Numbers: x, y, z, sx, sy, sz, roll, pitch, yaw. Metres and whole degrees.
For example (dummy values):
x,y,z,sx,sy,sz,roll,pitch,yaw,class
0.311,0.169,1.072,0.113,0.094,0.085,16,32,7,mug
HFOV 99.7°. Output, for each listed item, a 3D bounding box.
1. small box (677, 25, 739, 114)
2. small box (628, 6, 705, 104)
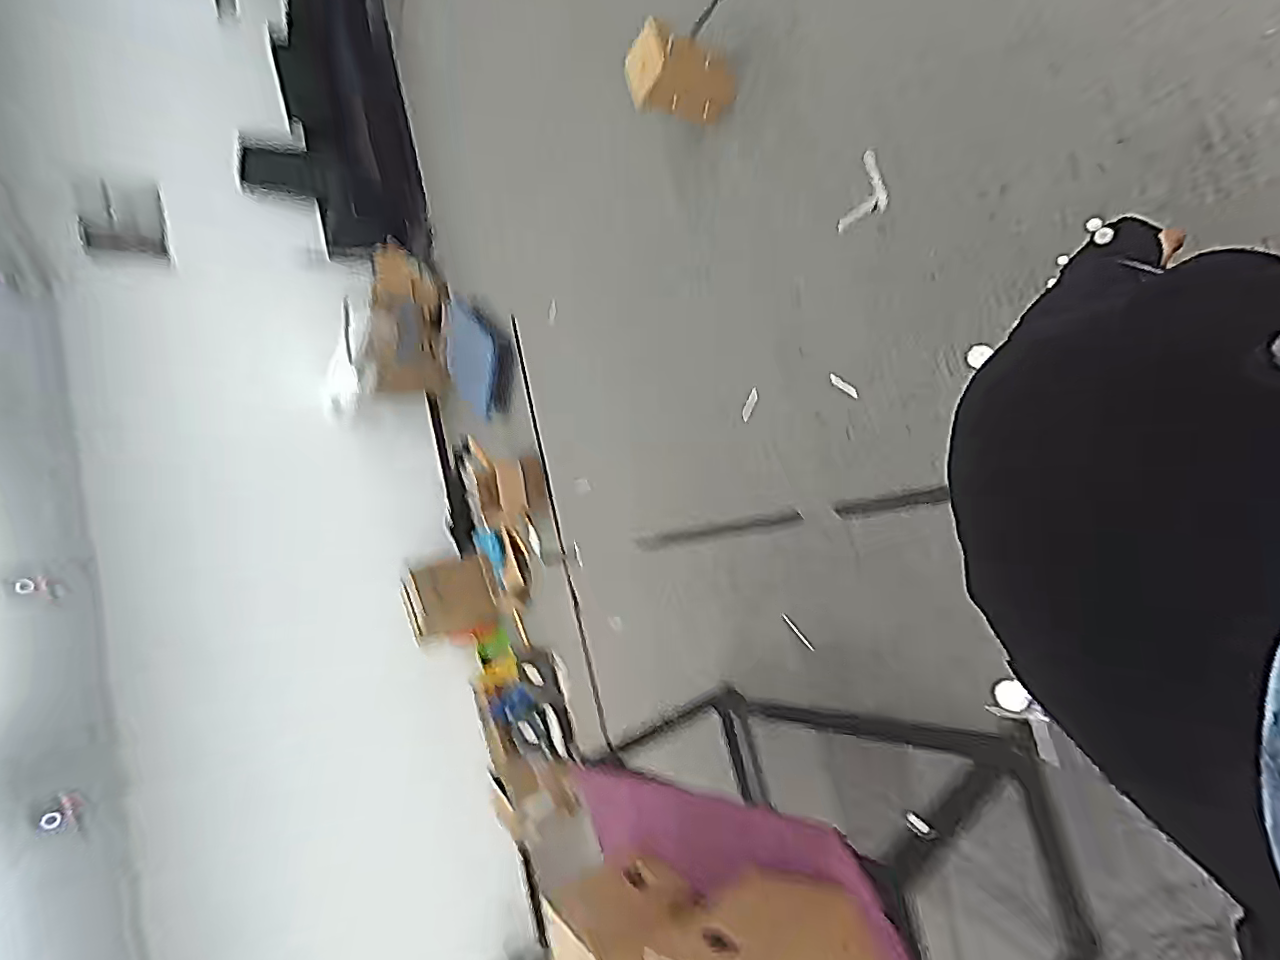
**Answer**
x,y,z,sx,sy,sz,roll,pitch,yaw,class
0.221,-1.416,1.883,0.168,0.176,0.179,-25,77,53,small box
0.089,-1.394,1.789,0.168,0.176,0.179,-24,79,54,small box
